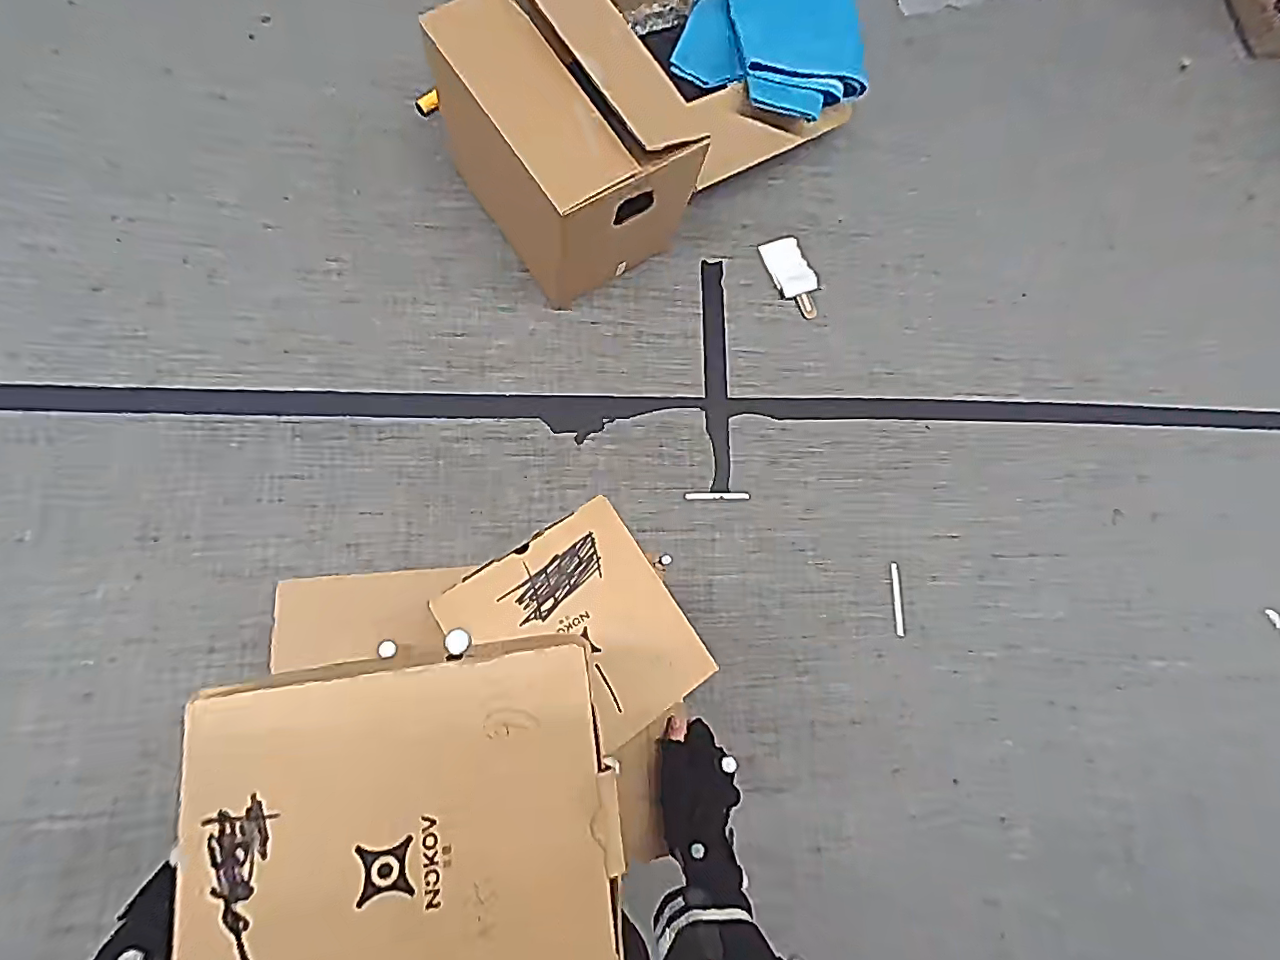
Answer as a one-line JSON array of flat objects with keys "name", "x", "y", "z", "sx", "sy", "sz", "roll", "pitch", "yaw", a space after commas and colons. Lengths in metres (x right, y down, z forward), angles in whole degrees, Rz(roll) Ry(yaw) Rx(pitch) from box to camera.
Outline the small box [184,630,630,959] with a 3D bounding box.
[{"name": "small box", "x": -0.112, "y": 0.181, "z": 0.310, "sx": 0.179, "sy": 0.176, "sz": 0.168, "roll": -5, "pitch": 77, "yaw": -12}]

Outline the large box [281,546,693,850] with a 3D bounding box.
[{"name": "large box", "x": -0.185, "y": 0.276, "z": 0.700, "sx": 0.408, "sy": 0.320, "sz": 0.320, "roll": -3, "pitch": 77, "yaw": -13}]
